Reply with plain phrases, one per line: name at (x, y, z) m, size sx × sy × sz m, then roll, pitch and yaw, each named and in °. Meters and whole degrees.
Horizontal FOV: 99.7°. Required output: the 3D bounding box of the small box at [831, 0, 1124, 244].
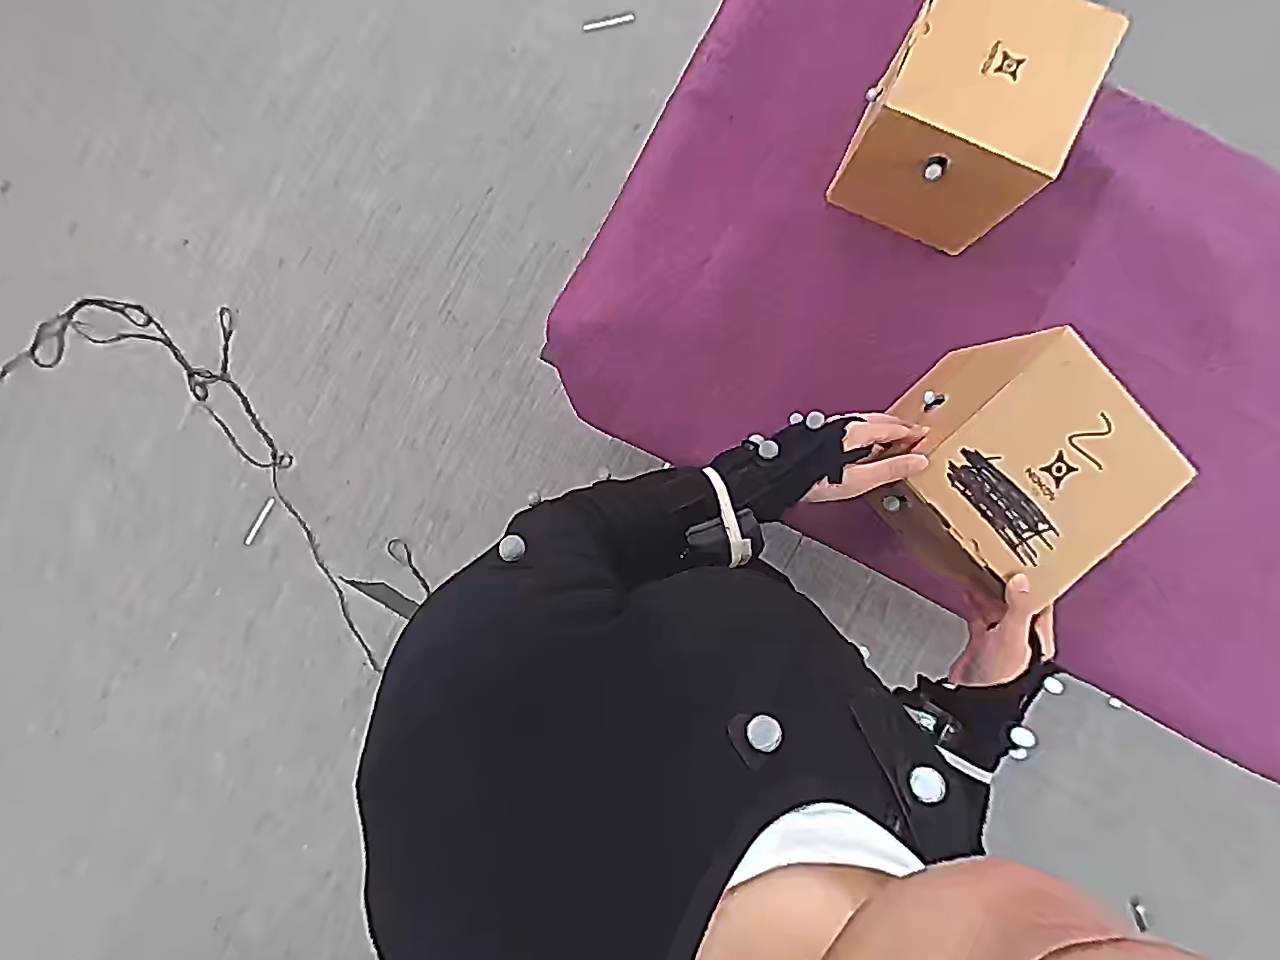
small box at (0.340, -0.386, 0.584) m, size 0.179 × 0.176 × 0.168 m, roll 25°, pitch 90°, yaw 3°
